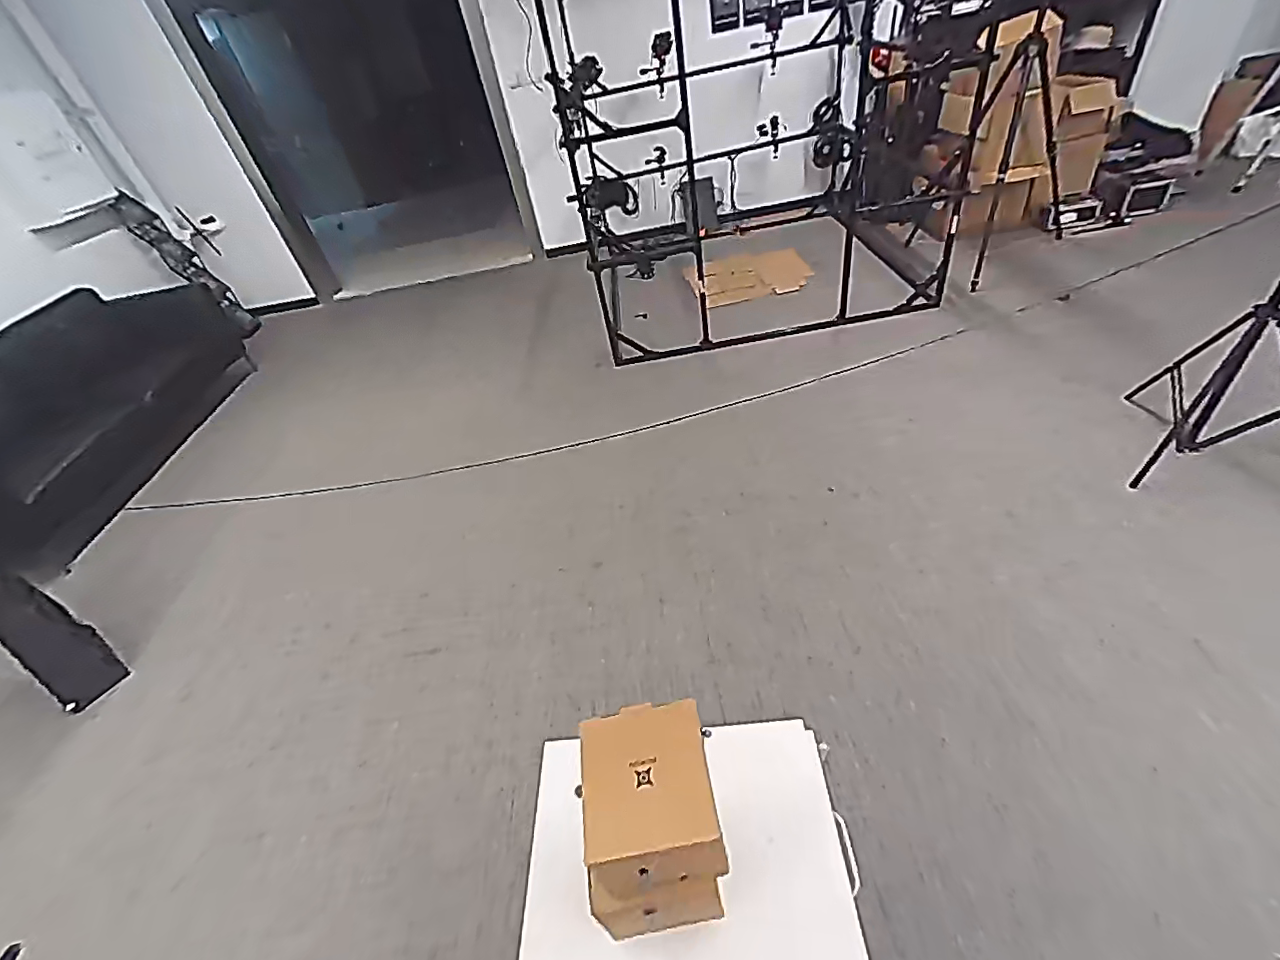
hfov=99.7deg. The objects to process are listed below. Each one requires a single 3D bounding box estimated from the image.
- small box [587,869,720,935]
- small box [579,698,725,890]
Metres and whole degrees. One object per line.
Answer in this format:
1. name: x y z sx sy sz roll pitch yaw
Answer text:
1. small box: 0.018 0.572 0.837 0.179 0.176 0.168 -11 40 0
2. small box: 0.016 0.435 0.744 0.168 0.176 0.179 -11 39 1
